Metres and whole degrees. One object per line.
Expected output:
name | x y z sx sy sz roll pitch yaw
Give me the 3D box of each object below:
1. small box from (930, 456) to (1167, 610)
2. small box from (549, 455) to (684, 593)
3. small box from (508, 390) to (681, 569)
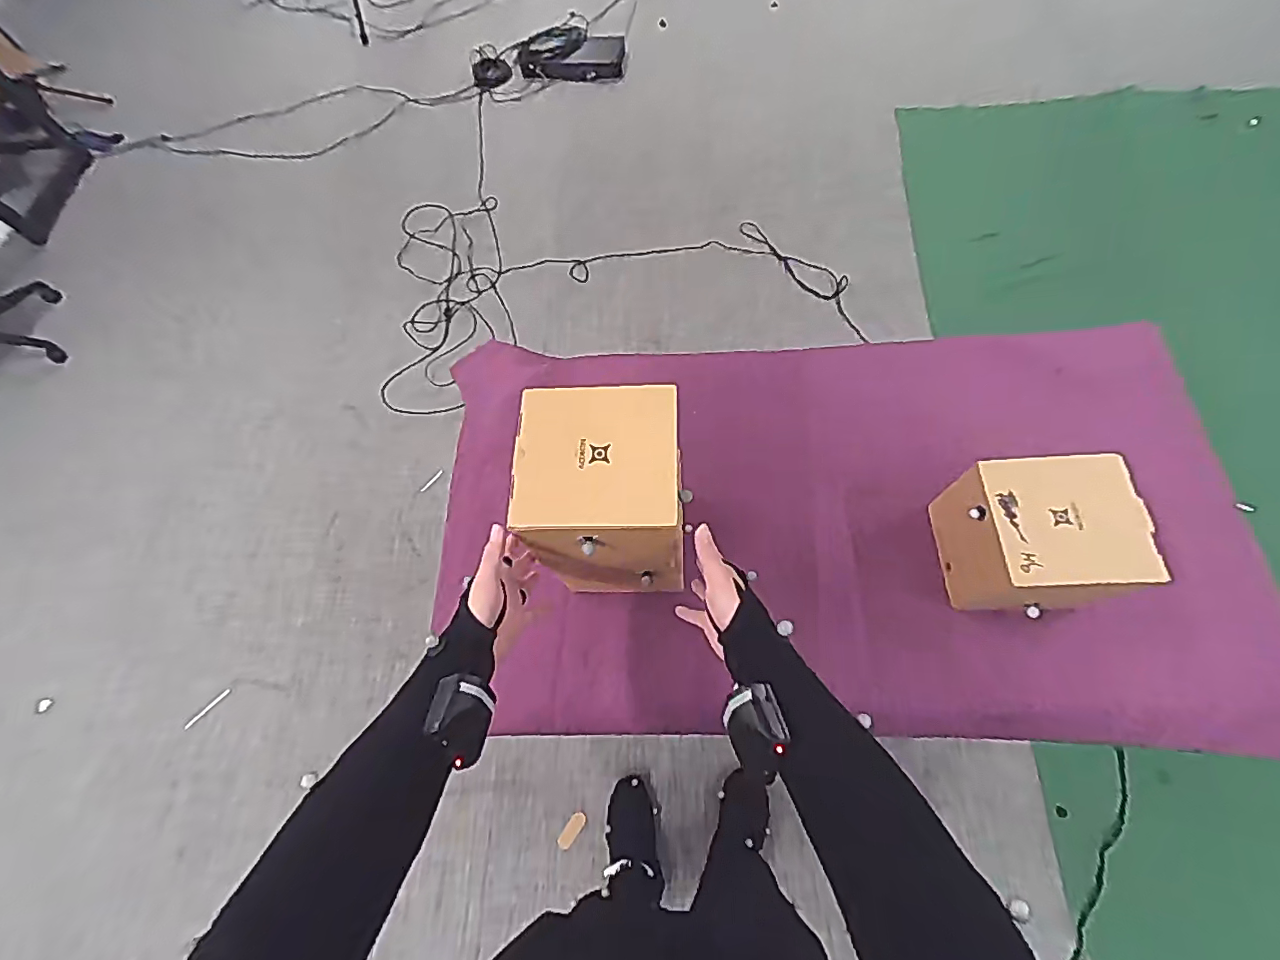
small box | 0.527 0.079 0.729 0.179 0.176 0.168 -3 66 5
small box | -0.023 0.069 0.798 0.179 0.176 0.168 -1 66 6
small box | -0.040 0.008 0.649 0.179 0.176 0.168 -2 67 6
